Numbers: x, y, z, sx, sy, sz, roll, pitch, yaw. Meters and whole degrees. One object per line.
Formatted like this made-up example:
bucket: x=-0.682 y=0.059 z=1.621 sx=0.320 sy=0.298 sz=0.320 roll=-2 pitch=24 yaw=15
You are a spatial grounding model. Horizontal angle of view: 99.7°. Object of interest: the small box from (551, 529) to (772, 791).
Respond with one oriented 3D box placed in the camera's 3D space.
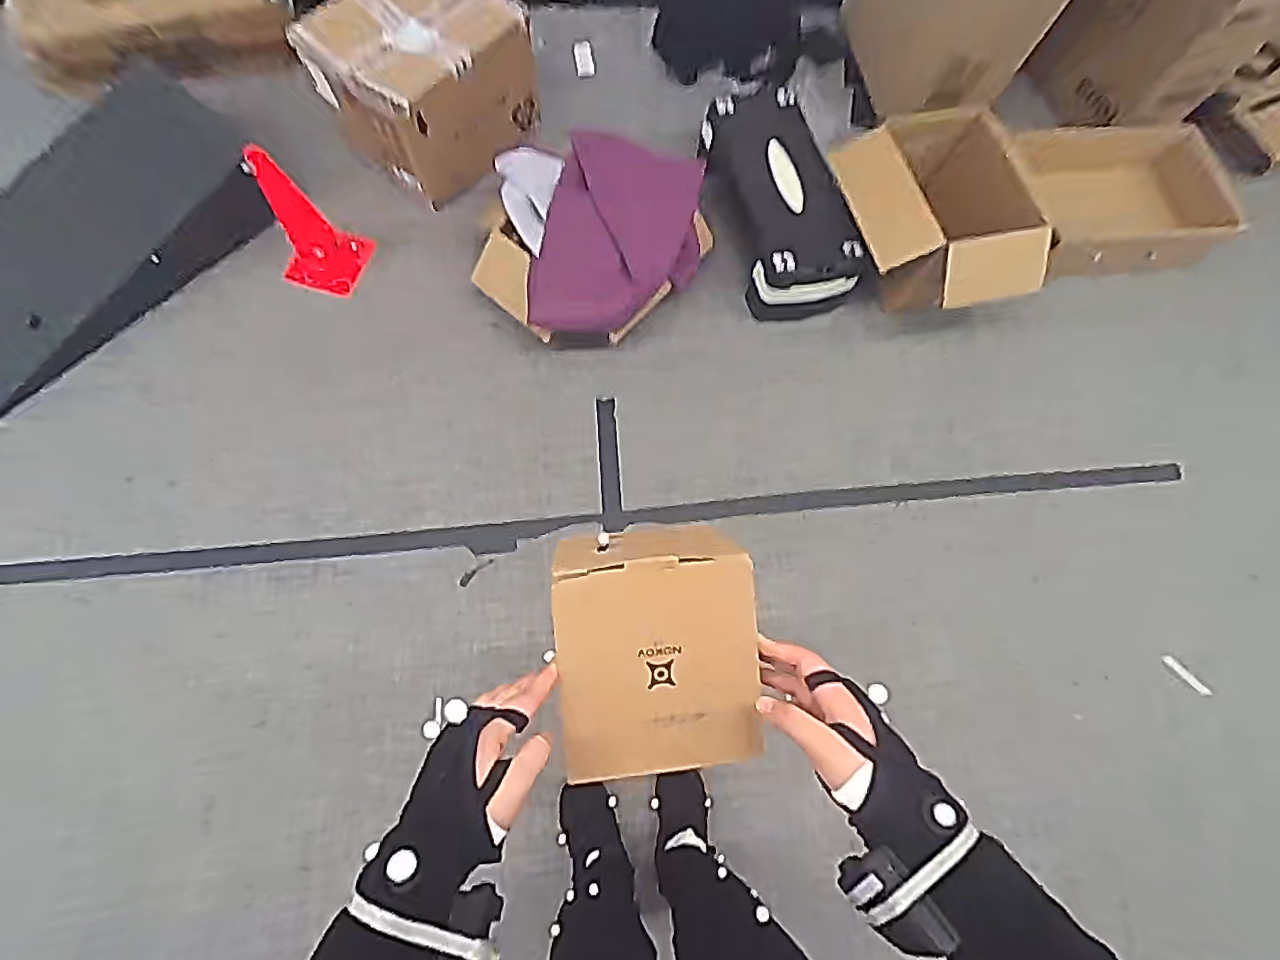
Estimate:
small box: x=0.011 y=0.145 z=0.502 sx=0.168 sy=0.176 sz=0.179 roll=-6 pitch=95 yaw=-4
